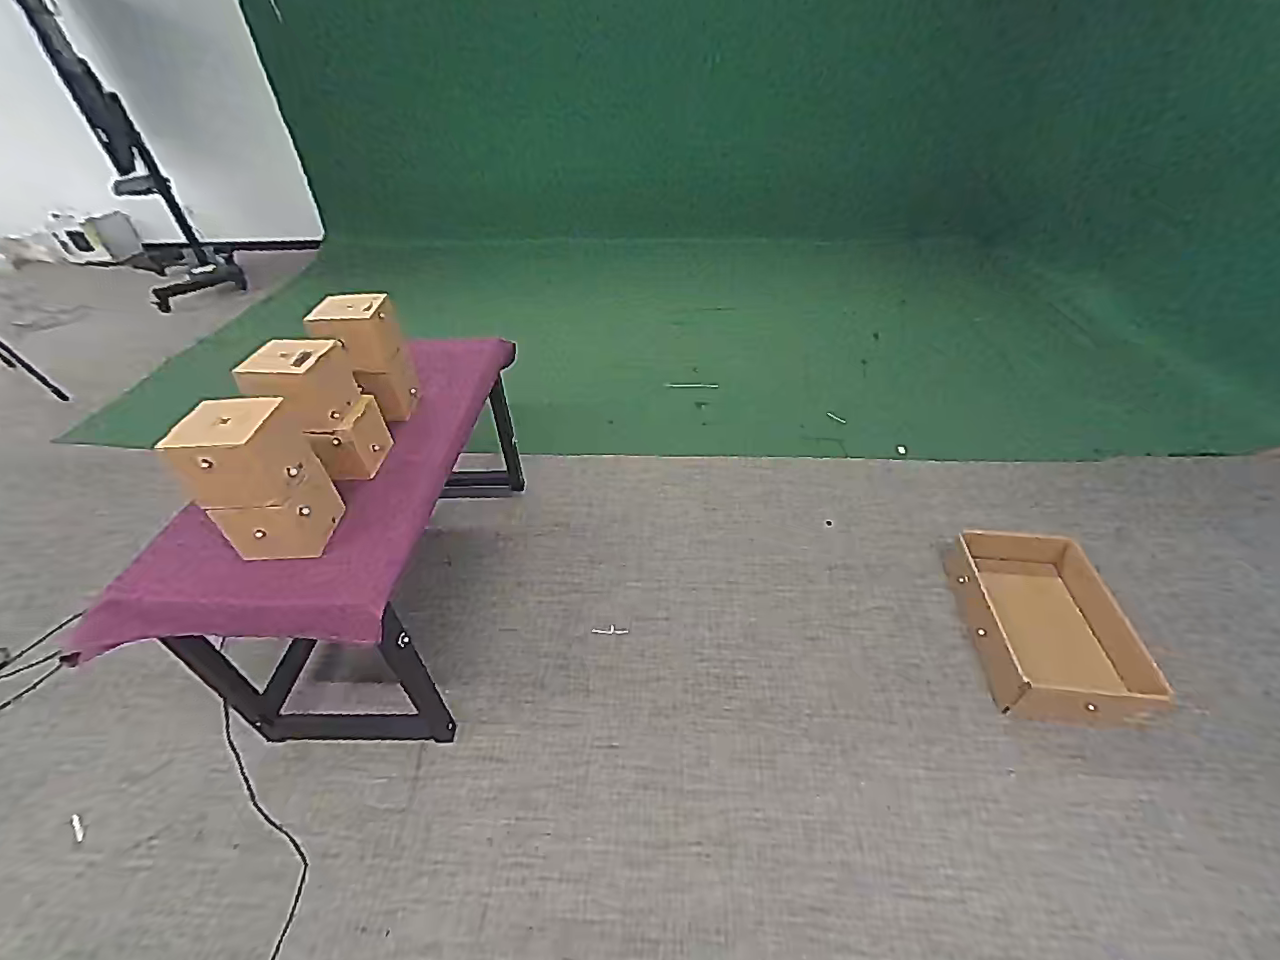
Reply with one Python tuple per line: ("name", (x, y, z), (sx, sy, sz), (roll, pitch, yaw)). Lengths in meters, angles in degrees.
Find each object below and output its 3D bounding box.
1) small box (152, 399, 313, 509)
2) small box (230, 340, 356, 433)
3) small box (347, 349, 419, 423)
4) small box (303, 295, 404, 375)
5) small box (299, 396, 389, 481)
("small box", (-0.833, -0.053, 1.128), (0.179, 0.176, 0.168), (-2, 41, 0))
("small box", (-0.842, -0.230, 1.336), (0.179, 0.176, 0.168), (2, 41, 4))
("small box", (-0.801, -0.285, 1.646), (0.179, 0.176, 0.168), (-2, 41, 0))
("small box", (-0.806, -0.409, 1.540), (0.179, 0.176, 0.168), (-3, 42, 0))
("small box", (-0.808, -0.109, 1.447), (0.179, 0.176, 0.168), (0, 41, 0))
